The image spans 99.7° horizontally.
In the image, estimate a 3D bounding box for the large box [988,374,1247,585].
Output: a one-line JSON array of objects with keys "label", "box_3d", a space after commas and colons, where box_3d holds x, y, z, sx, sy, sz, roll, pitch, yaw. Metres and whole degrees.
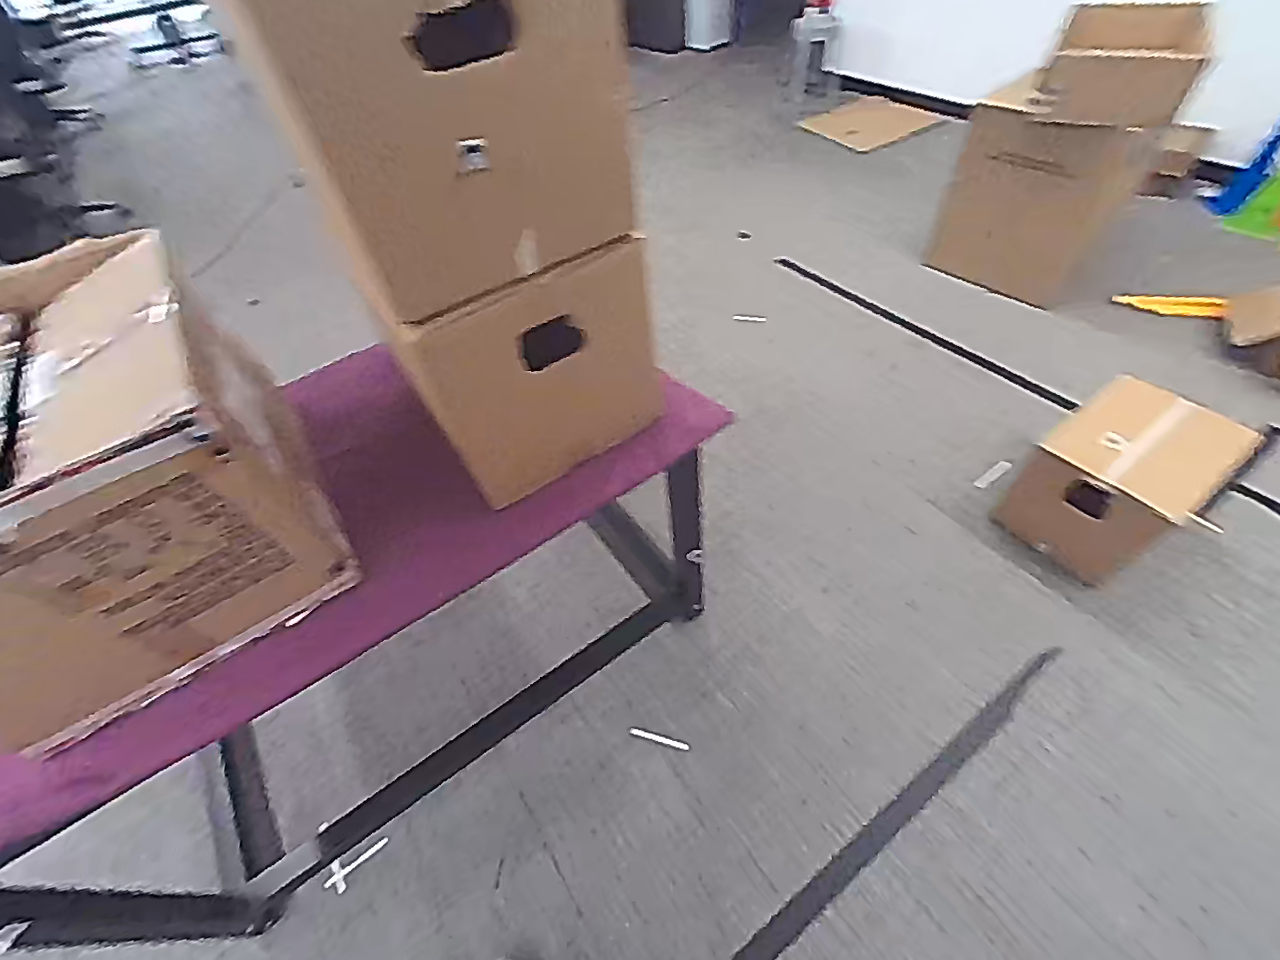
[{"label": "large box", "box_3d": [1.230, -0.004, 1.429, 0.408, 0.320, 0.320, -34, 54, -18]}]
